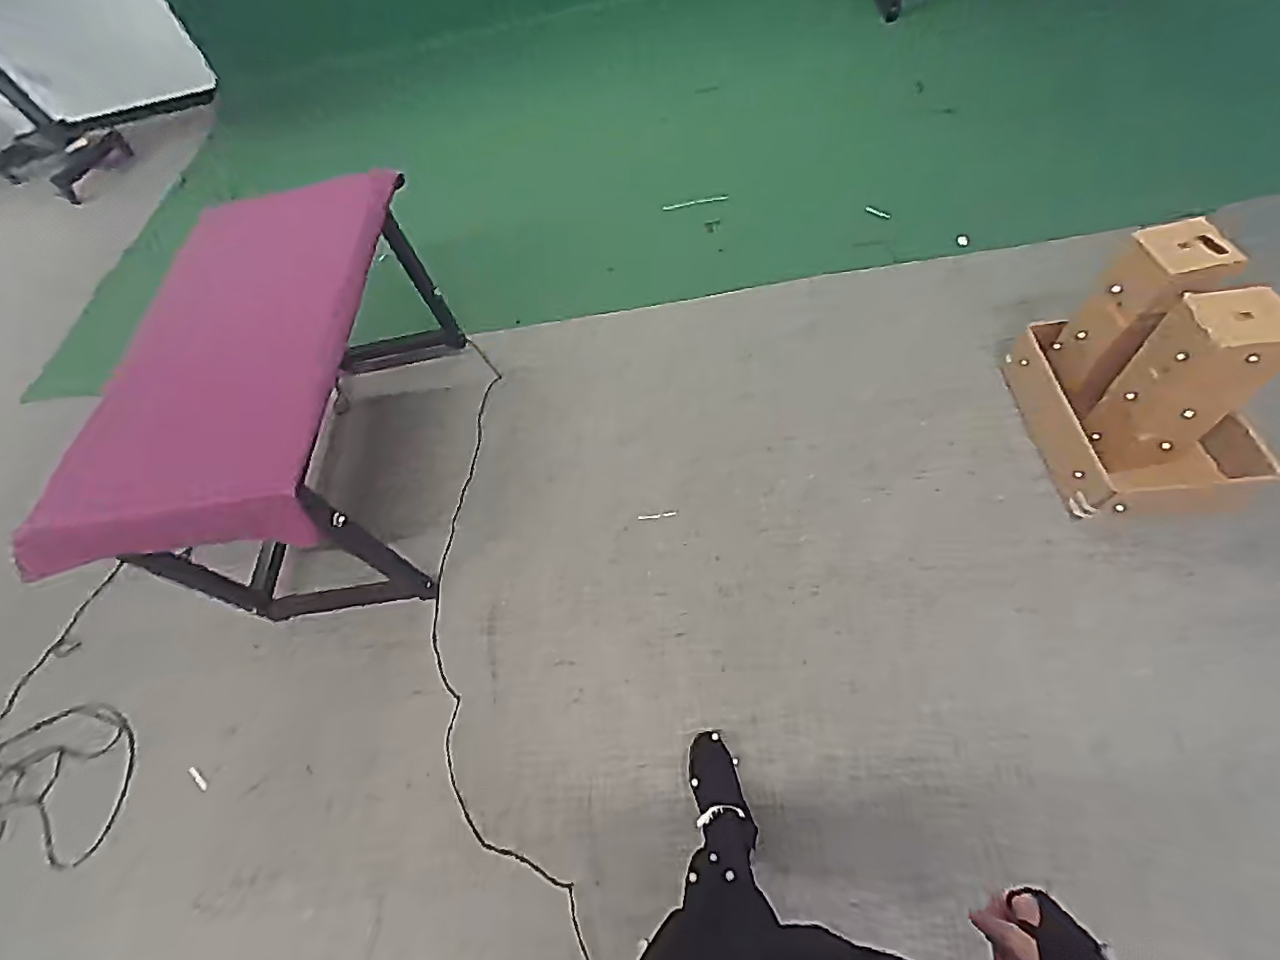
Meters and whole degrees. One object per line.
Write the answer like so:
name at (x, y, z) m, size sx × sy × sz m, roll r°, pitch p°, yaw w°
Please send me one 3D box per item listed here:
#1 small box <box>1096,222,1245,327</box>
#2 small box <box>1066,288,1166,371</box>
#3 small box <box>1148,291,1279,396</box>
small box at (1.335, -0.518, 1.377) m, size 0.179 × 0.176 × 0.168 m, roll -11°, pitch 59°, yaw 4°
small box at (1.357, -0.428, 1.513) m, size 0.179 × 0.176 × 0.168 m, roll -6°, pitch 59°, yaw 7°
small box at (1.346, -0.310, 1.257) m, size 0.179 × 0.176 × 0.168 m, roll -4°, pitch 57°, yaw 9°
